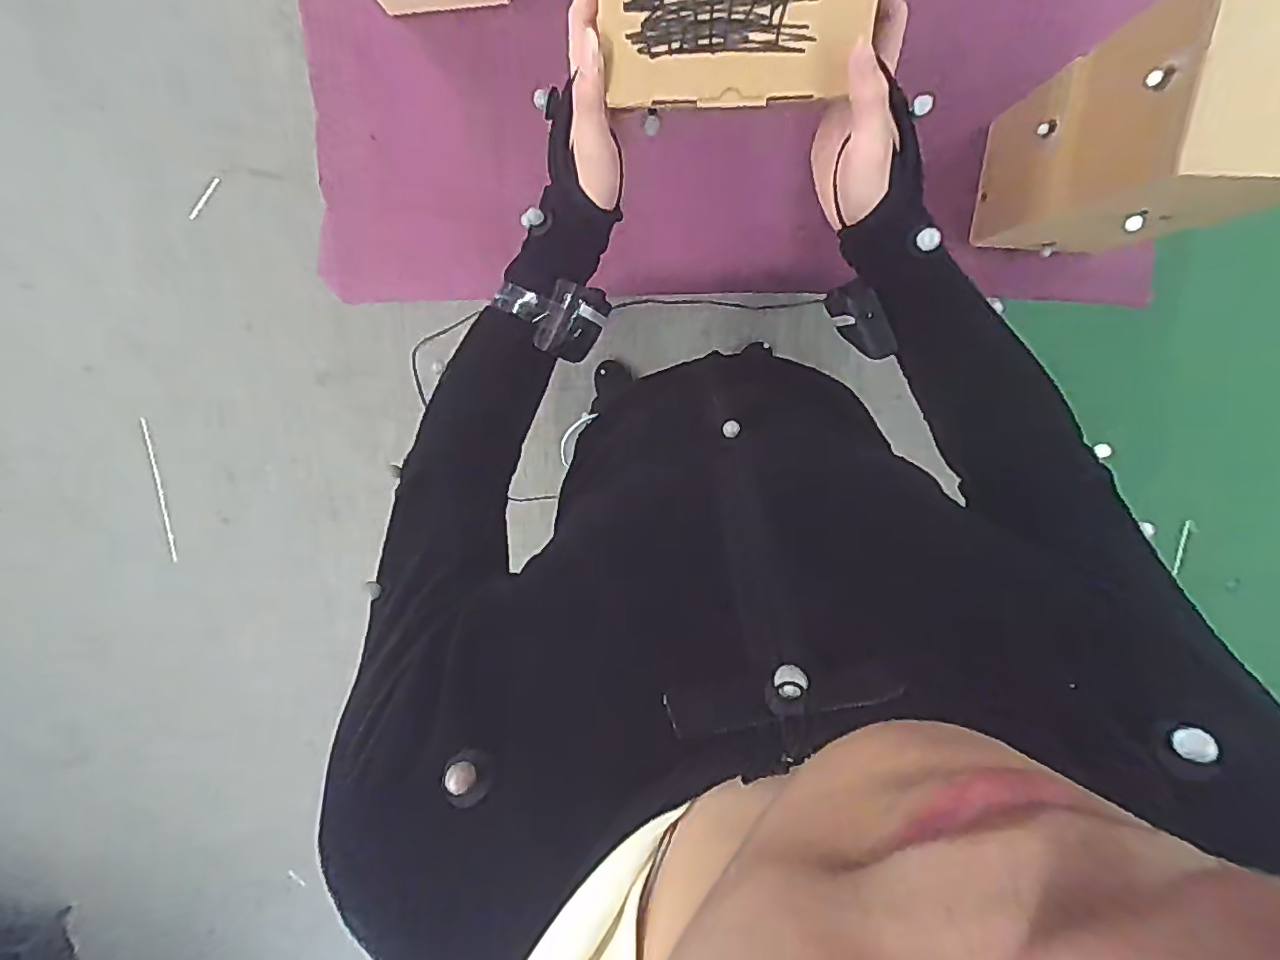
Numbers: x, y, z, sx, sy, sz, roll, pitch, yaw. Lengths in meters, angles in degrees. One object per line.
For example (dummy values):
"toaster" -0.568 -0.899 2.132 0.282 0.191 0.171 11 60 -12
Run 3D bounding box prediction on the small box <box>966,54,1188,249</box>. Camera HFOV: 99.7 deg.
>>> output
"small box" 0.560 -0.400 0.687 0.179 0.176 0.168 4 102 2

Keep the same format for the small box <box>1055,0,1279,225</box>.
"small box" 0.555 -0.367 0.527 0.168 0.176 0.179 5 104 4

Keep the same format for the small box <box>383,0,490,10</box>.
"small box" -0.272 -0.712 0.649 0.179 0.176 0.168 -3 104 4
